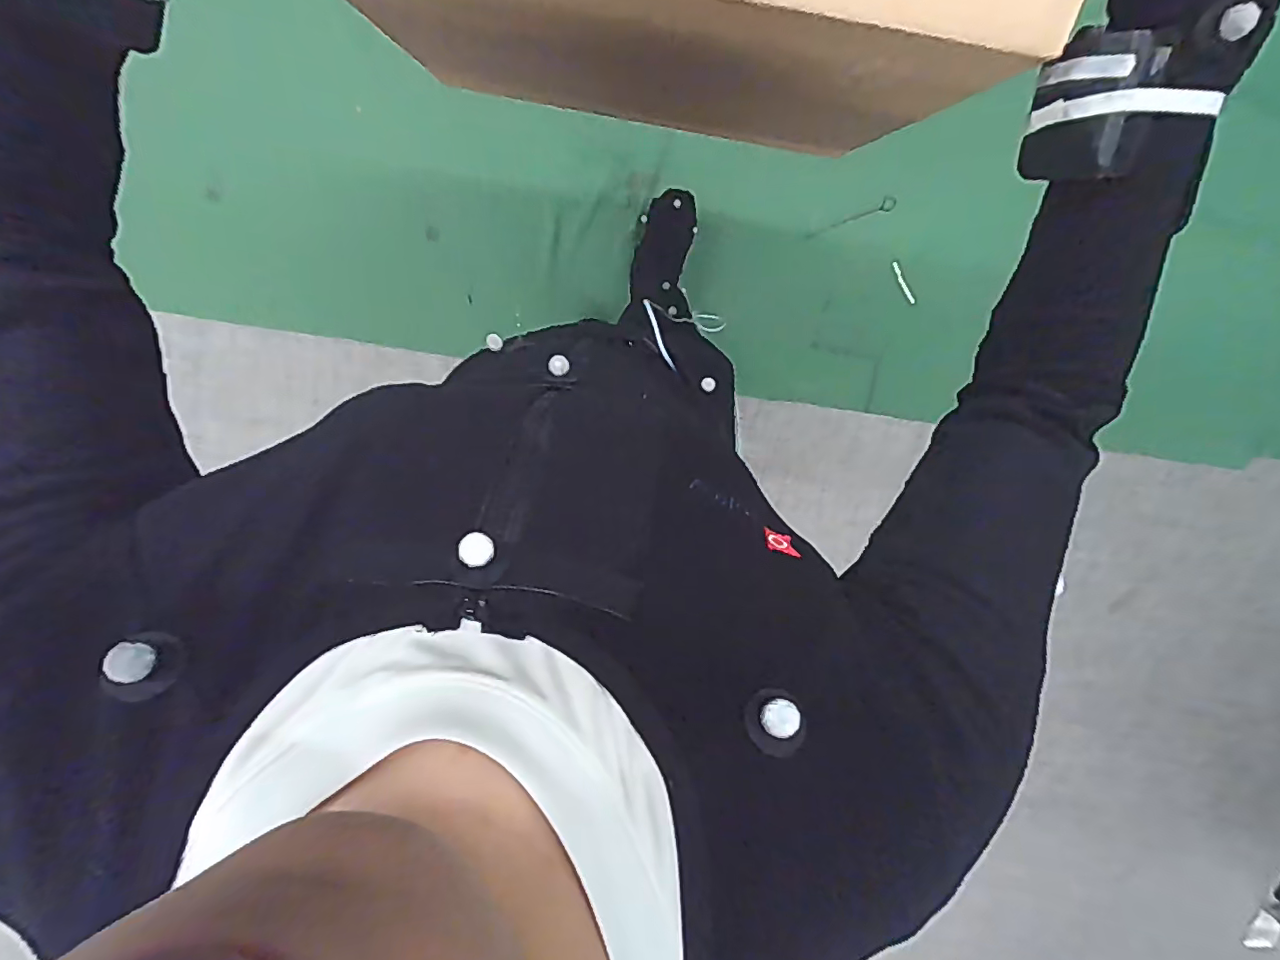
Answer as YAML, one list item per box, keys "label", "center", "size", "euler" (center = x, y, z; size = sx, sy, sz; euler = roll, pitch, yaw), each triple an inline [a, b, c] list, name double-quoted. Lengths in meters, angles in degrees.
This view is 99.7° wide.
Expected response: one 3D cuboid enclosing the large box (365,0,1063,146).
- label: "large box"
  center: [0.032, -0.444, 0.348]
  size: [0.408, 0.320, 0.320]
  euler: [7, 114, -4]
